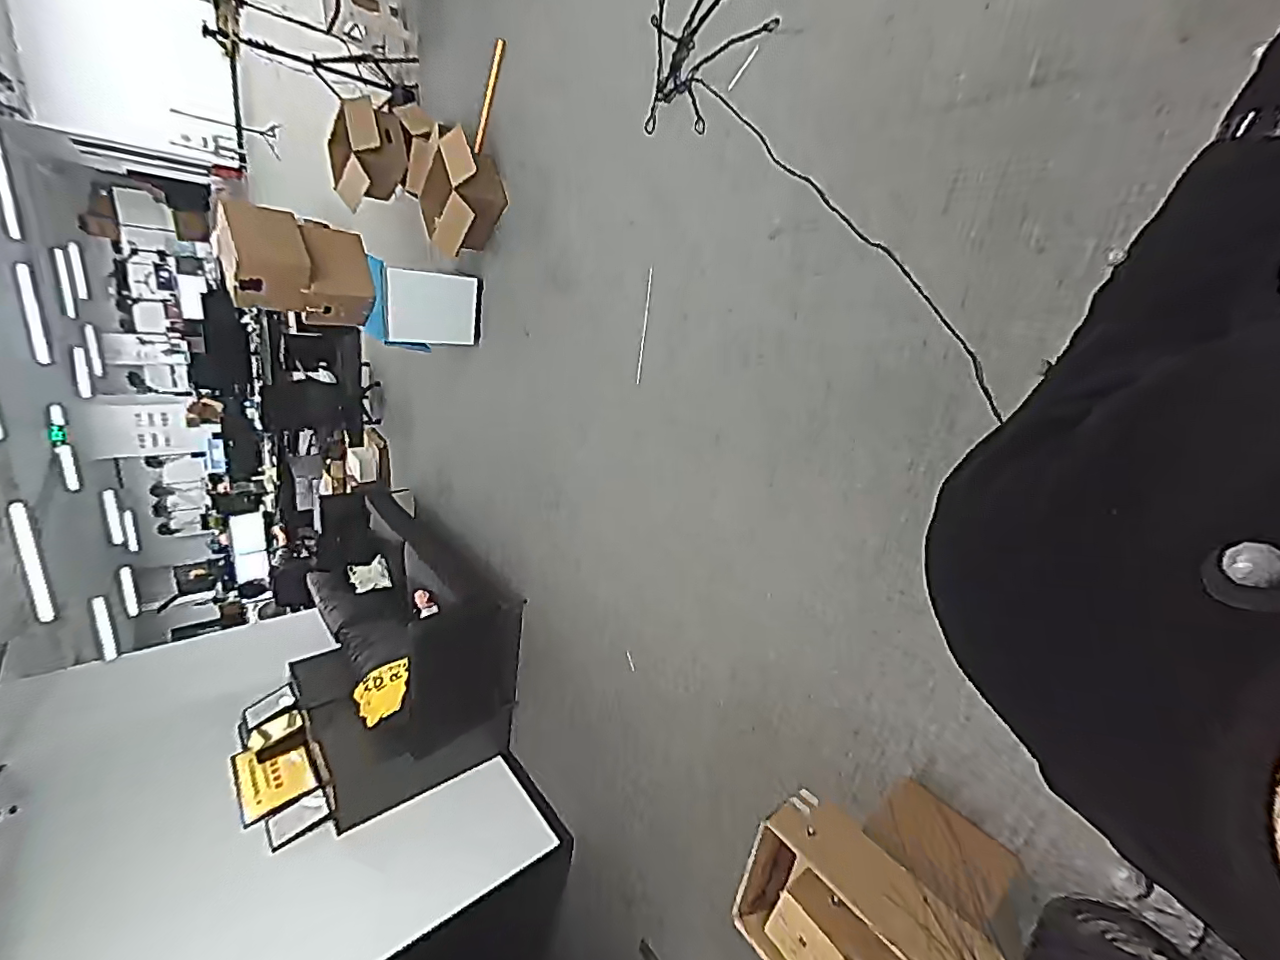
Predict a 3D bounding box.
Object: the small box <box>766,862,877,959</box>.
[{"bbox_3d":[0.437,1.072,1.294,0.168,0.176,0.179,36,122,42],"label":"small box"}]
